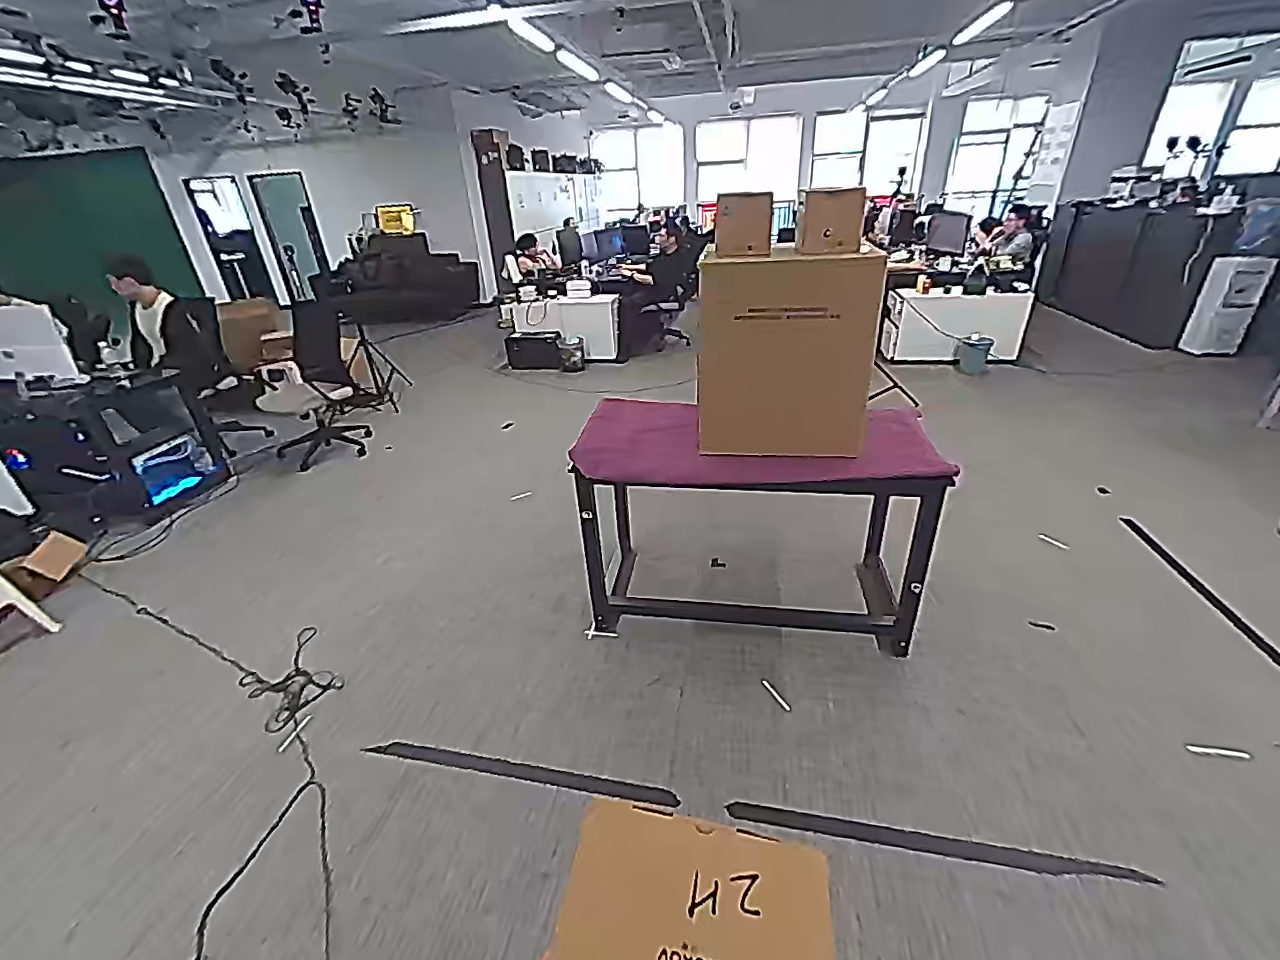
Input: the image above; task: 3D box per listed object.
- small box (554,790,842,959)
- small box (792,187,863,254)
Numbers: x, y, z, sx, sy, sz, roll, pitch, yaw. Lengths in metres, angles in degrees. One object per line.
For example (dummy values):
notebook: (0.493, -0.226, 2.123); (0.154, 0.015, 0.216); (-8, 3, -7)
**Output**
small box: (0.031, 0.344, 0.352); (0.168, 0.176, 0.179); (8, 37, 8)
small box: (0.551, -0.774, 1.613); (0.168, 0.176, 0.179); (-1, 30, 7)
